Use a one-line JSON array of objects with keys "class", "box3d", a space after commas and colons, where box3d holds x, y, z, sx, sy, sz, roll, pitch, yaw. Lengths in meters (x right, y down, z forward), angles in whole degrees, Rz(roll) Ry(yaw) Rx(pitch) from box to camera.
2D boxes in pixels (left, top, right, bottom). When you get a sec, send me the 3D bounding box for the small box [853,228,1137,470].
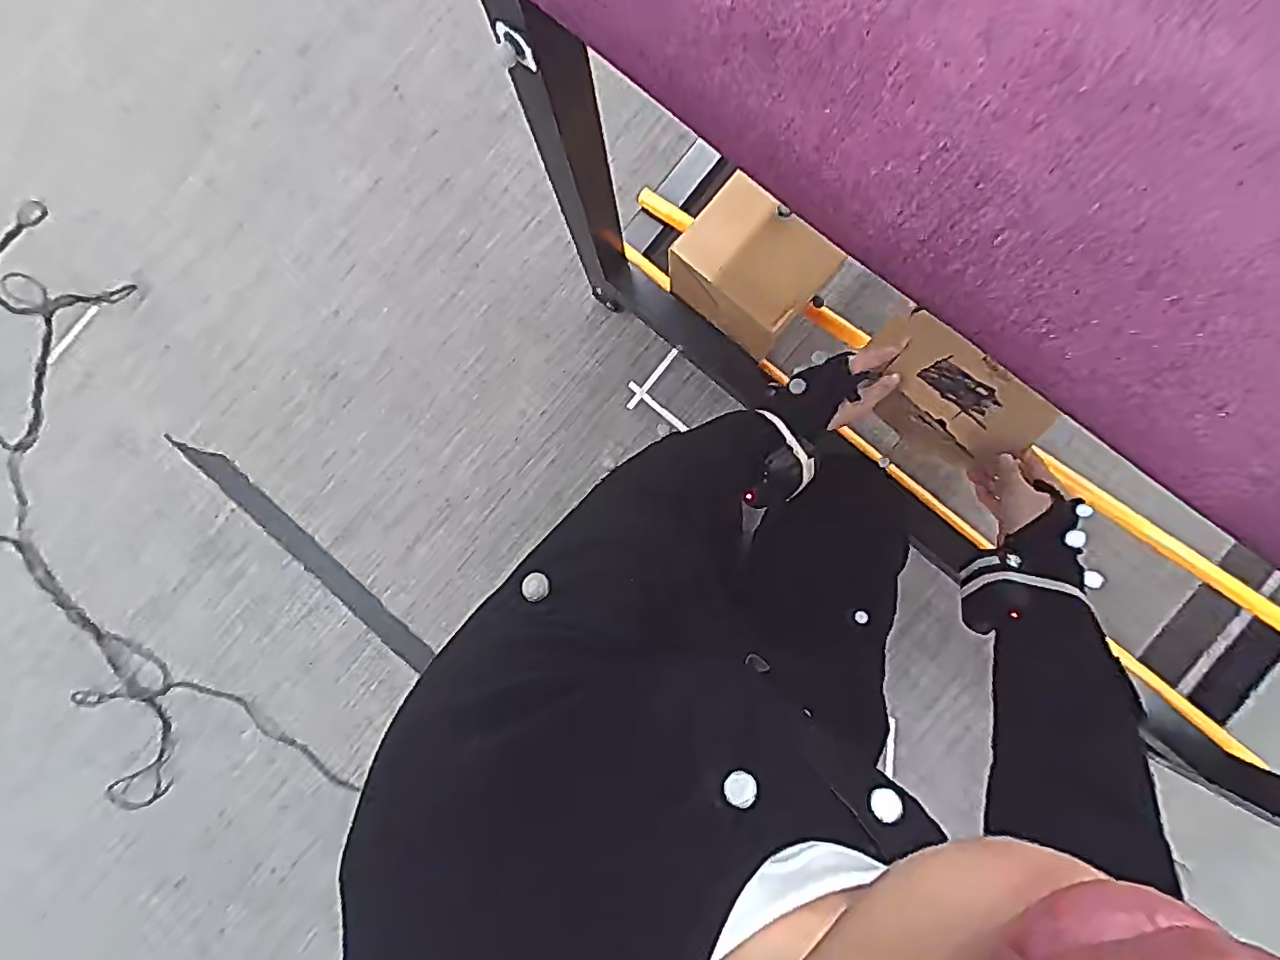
[{"class": "small box", "box3d": [0.367, -0.135, 0.607, 0.168, 0.176, 0.179, 41, 99, -3]}]
